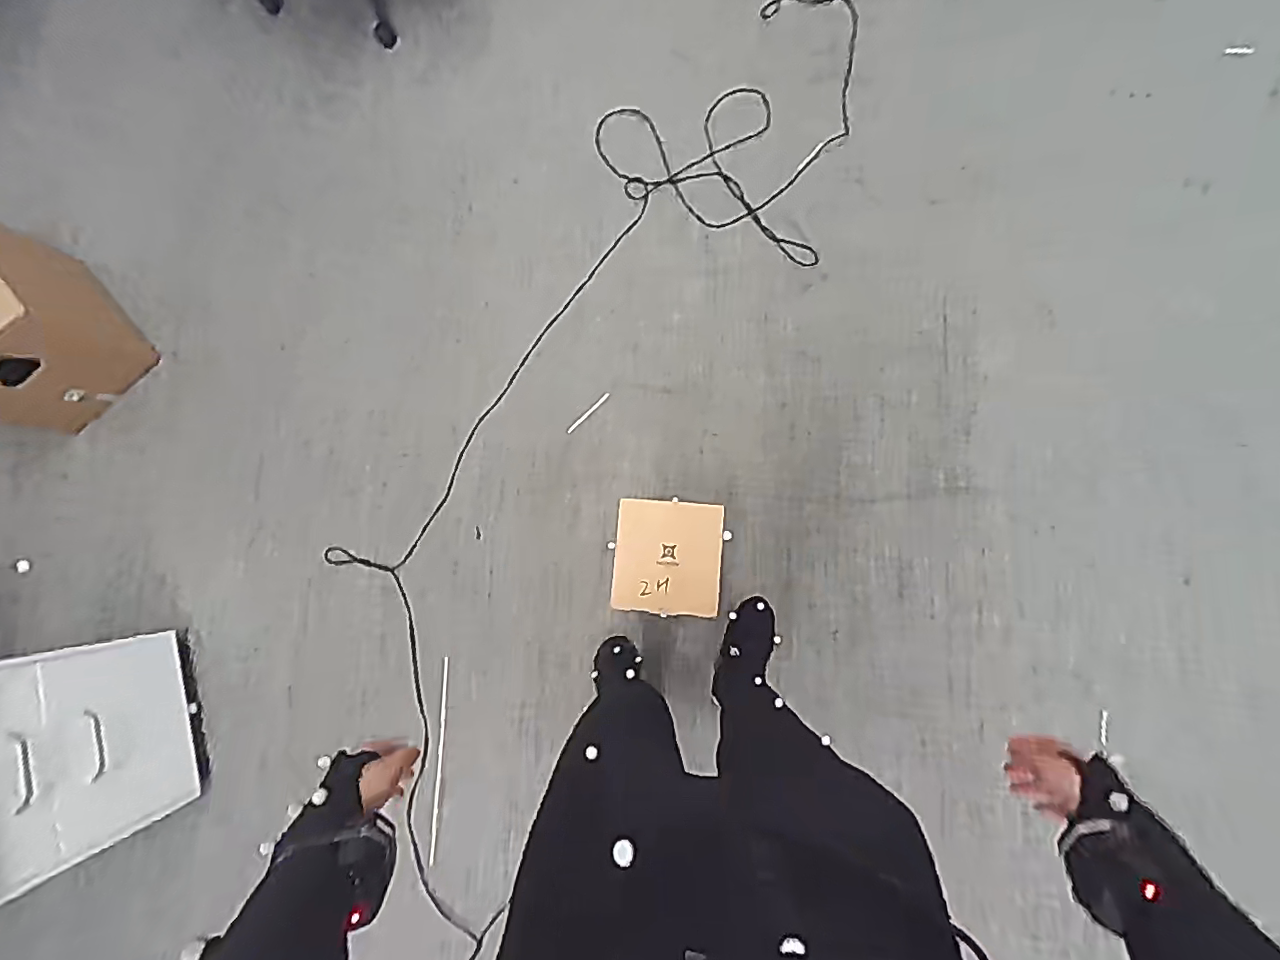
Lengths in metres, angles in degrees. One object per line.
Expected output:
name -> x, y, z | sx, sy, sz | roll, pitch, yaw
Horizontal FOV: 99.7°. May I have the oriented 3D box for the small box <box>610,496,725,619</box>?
small box -> 0.048, 0.129, 0.913 | 0.168, 0.176, 0.179 | 5, 83, 5
